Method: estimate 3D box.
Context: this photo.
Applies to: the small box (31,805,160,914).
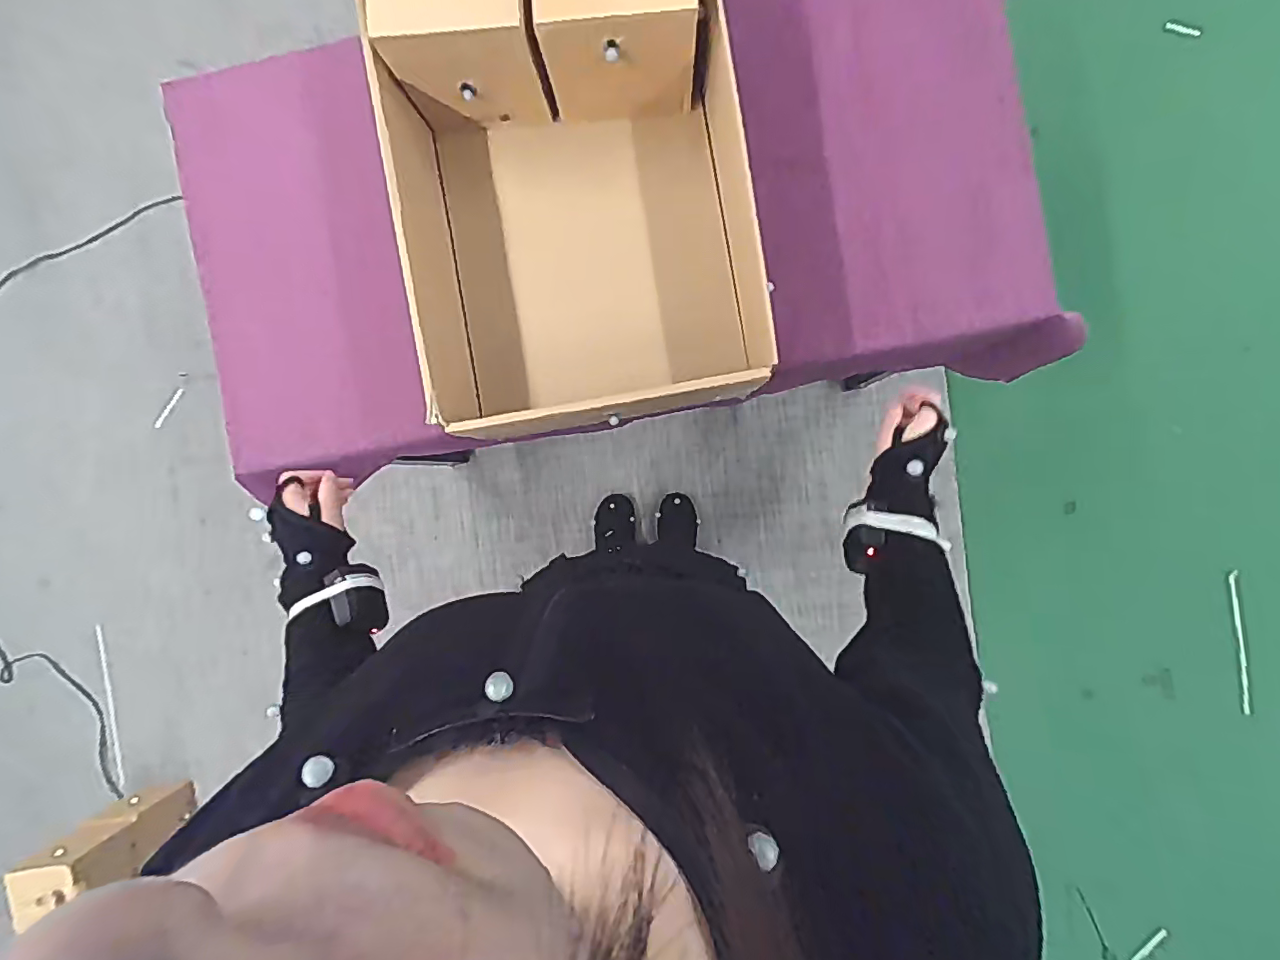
[{"bbox_3d":[-1.413,0.986,1.420,0.179,0.176,0.168,-11,90,6],"label":"small box"}]
